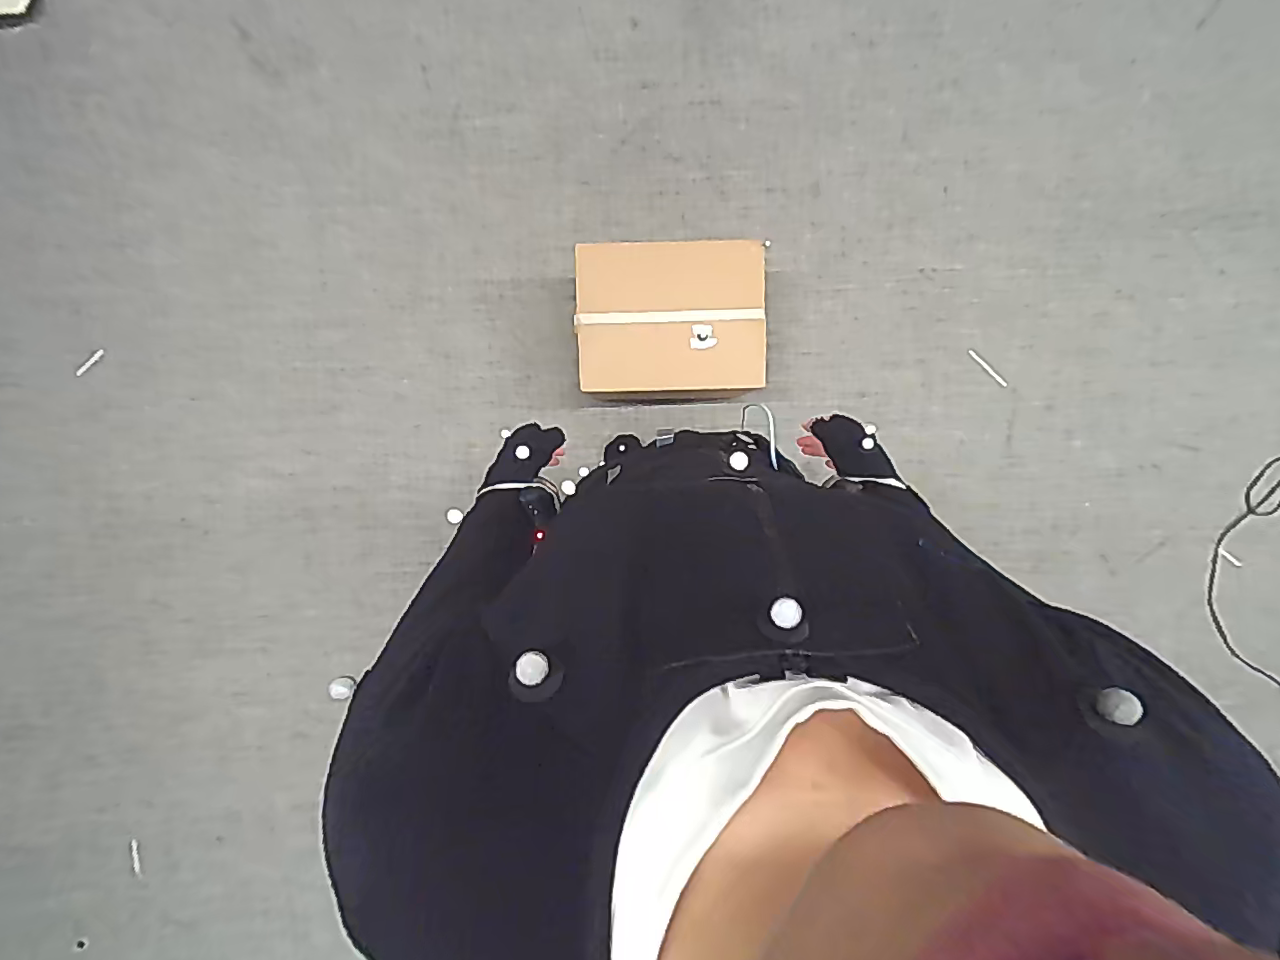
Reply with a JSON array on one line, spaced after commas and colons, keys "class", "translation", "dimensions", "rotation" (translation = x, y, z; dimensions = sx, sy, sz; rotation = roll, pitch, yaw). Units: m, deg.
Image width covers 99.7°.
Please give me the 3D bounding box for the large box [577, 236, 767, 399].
[{"class": "large box", "translation": [0.068, -0.368, 1.301], "dimensions": [0.408, 0.320, 0.320], "rotation": [-2, 96, 0]}]
